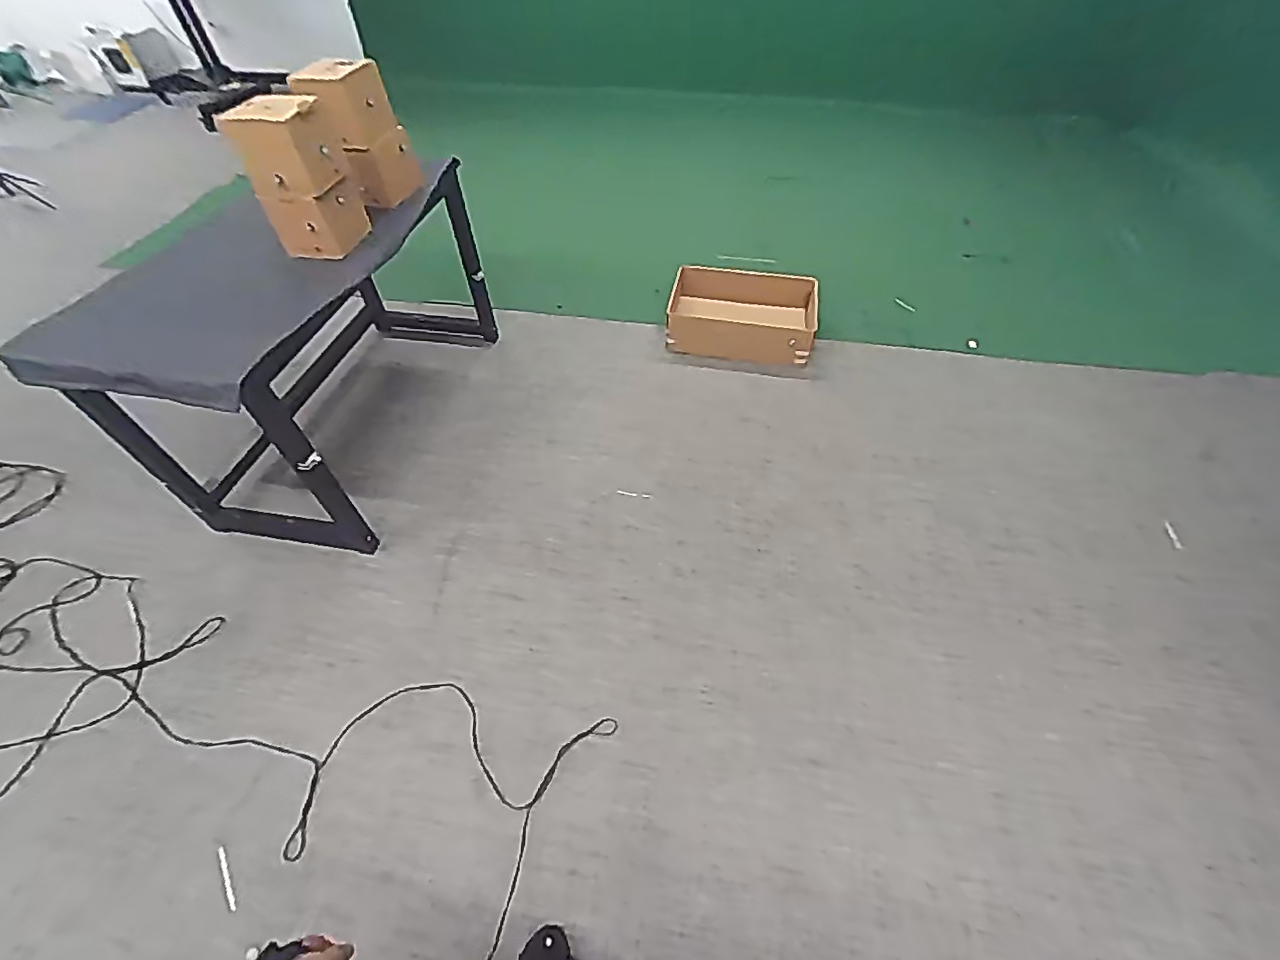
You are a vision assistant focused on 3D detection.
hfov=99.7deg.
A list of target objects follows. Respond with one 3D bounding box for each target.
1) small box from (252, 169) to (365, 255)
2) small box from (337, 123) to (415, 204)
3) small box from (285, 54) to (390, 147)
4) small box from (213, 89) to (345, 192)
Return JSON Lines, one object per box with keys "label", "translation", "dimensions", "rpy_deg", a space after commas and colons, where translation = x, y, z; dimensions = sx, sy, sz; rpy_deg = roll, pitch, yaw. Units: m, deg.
{"label": "small box", "translation": [-0.875, -0.725, 1.453], "dimensions": [0.168, 0.176, 0.179], "rpy_deg": [7, 50, 6]}
{"label": "small box", "translation": [-0.812, -0.967, 1.645], "dimensions": [0.168, 0.176, 0.179], "rpy_deg": [10, 53, 11]}
{"label": "small box", "translation": [-0.831, -1.062, 1.511], "dimensions": [0.168, 0.176, 0.179], "rpy_deg": [9, 53, 10]}
{"label": "small box", "translation": [-0.867, -0.825, 1.323], "dimensions": [0.179, 0.176, 0.168], "rpy_deg": [7, 52, 6]}
